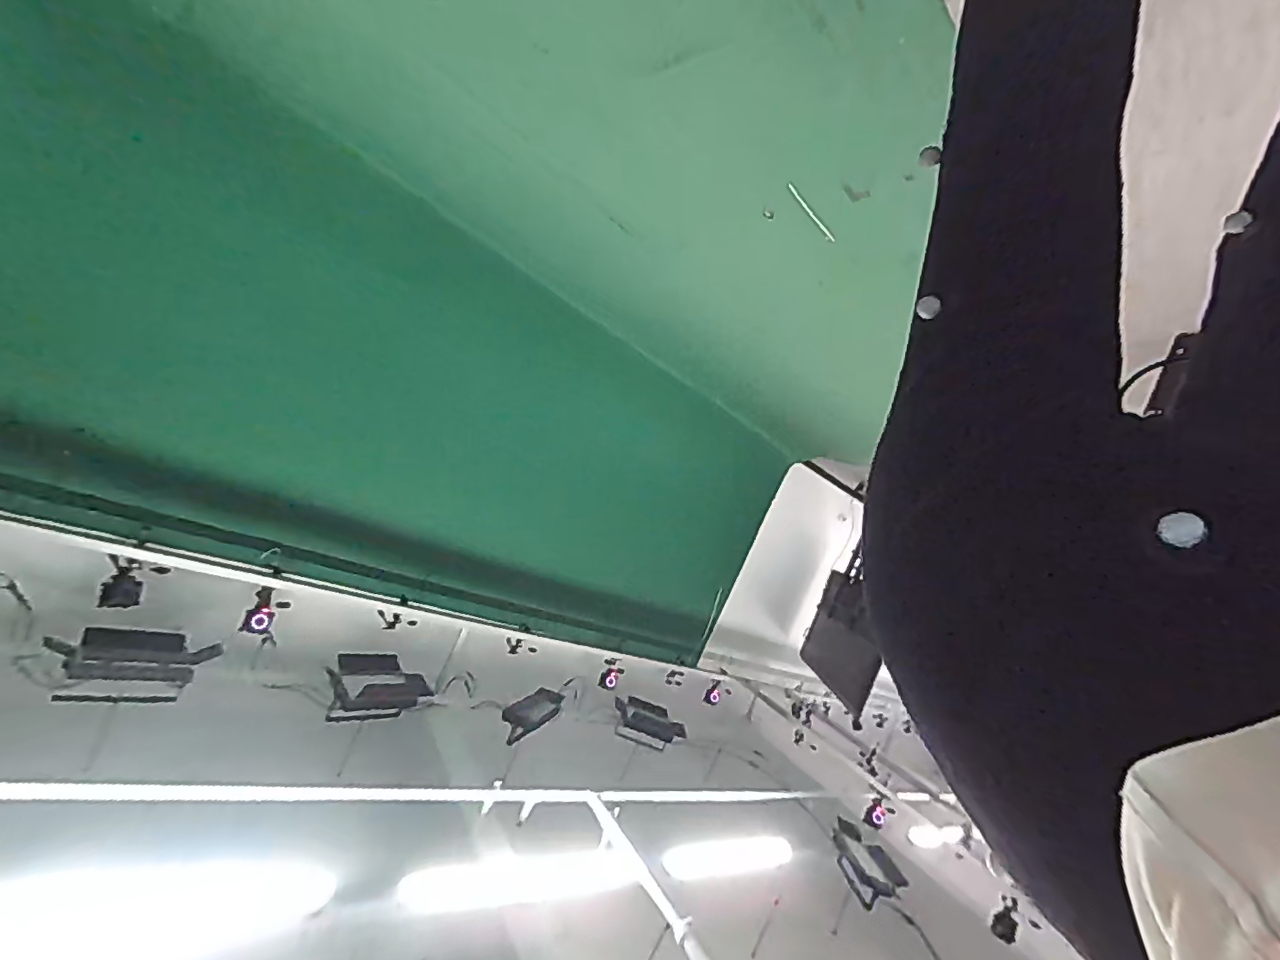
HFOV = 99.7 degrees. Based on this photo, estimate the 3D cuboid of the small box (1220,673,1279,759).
[{"bbox_3d":[1.618,0.609,1.369,0.179,0.176,0.168,27,178,-38],"label":"small box"}]
